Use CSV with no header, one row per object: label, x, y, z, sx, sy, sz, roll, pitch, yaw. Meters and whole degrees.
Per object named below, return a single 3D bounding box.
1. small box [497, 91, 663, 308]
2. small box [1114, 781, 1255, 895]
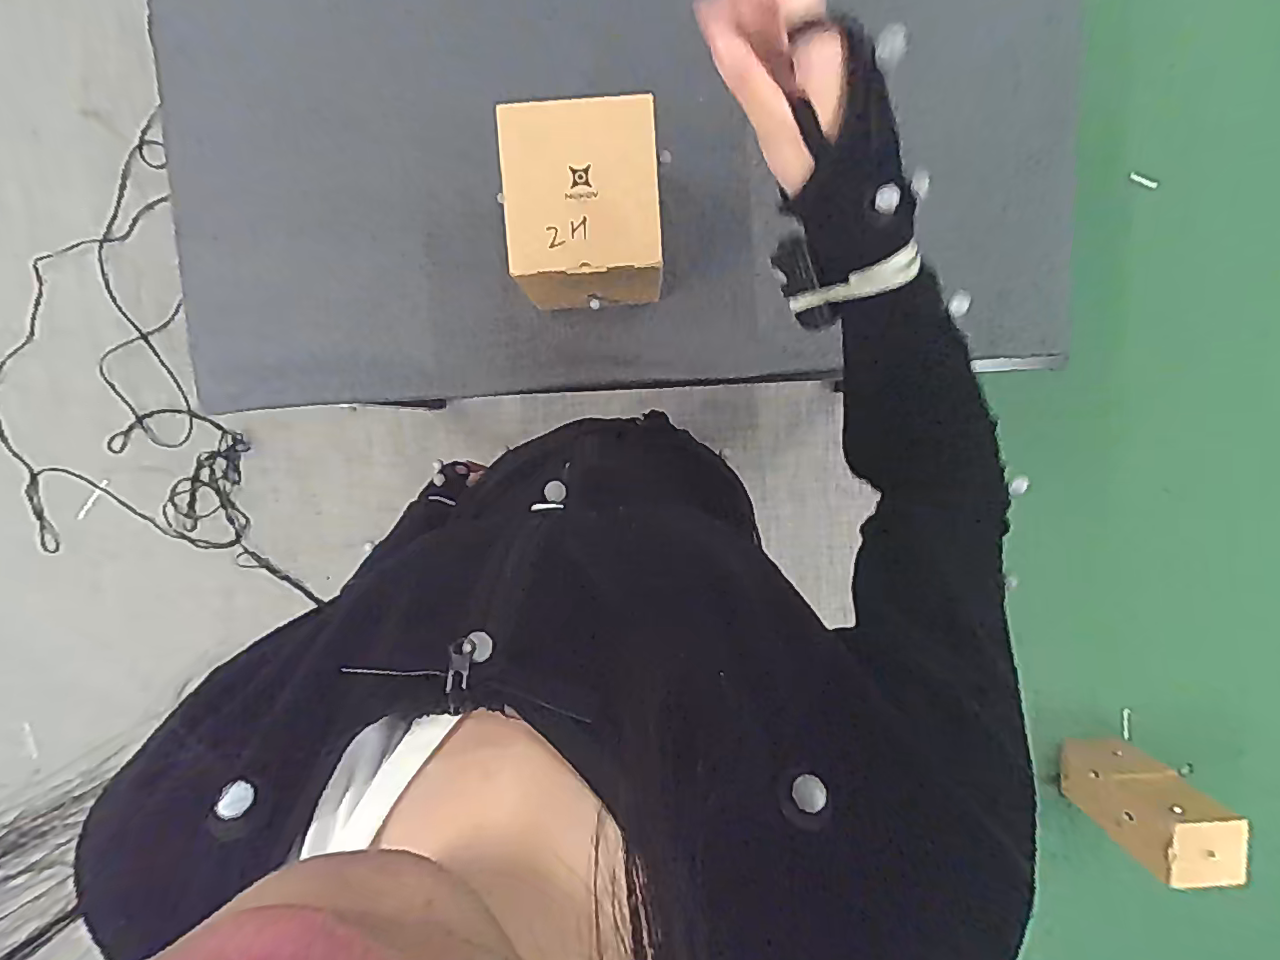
small box,-0.063,-0.316,0.642,0.168,0.176,0.179,-4,95,1
small box,1.313,0.859,1.313,0.179,0.176,0.168,-4,95,0
